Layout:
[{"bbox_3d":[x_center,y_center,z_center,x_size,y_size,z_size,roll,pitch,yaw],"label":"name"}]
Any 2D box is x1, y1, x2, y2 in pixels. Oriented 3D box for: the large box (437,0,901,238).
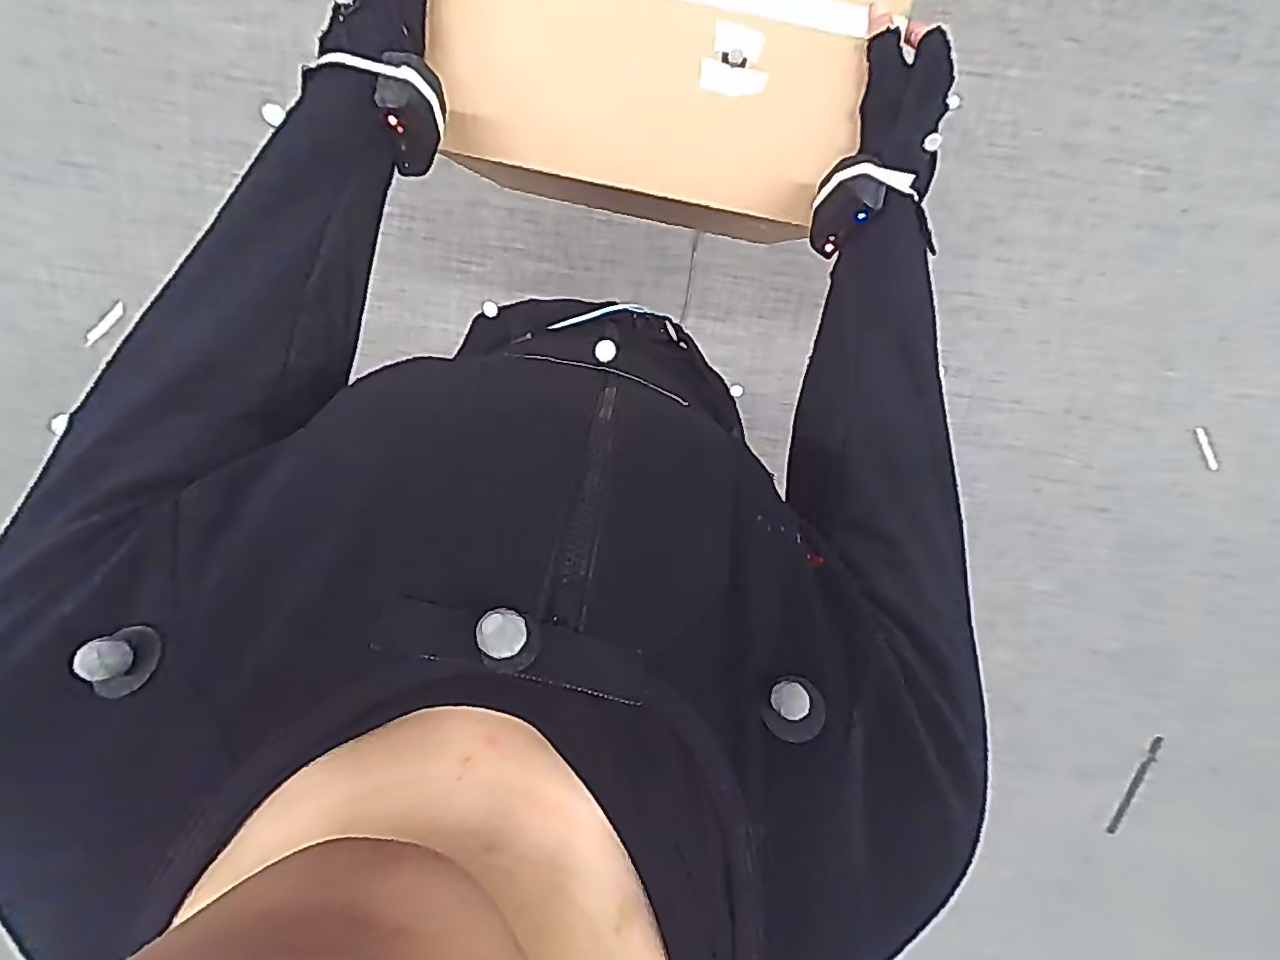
[{"bbox_3d":[0.024,-0.476,0.605,0.408,0.320,0.320,9,113,-5],"label":"large box"}]
